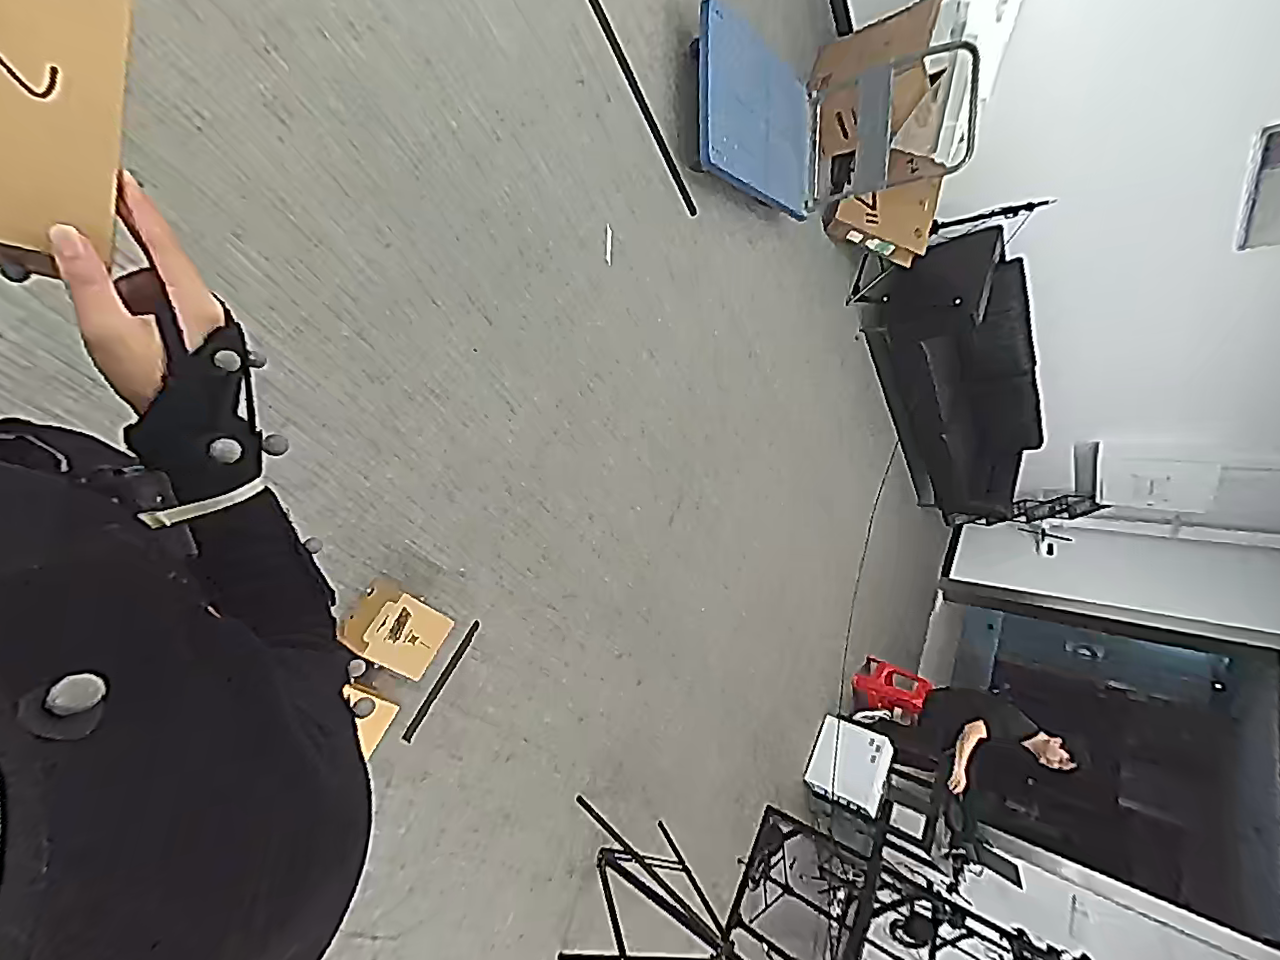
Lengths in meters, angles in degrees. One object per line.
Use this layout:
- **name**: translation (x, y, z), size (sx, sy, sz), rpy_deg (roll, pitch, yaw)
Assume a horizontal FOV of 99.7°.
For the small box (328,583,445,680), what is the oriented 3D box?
- **small box**: translation (-0.642, 0.374, 1.366), size (0.179, 0.176, 0.168), rpy_deg (51, 58, -40)
